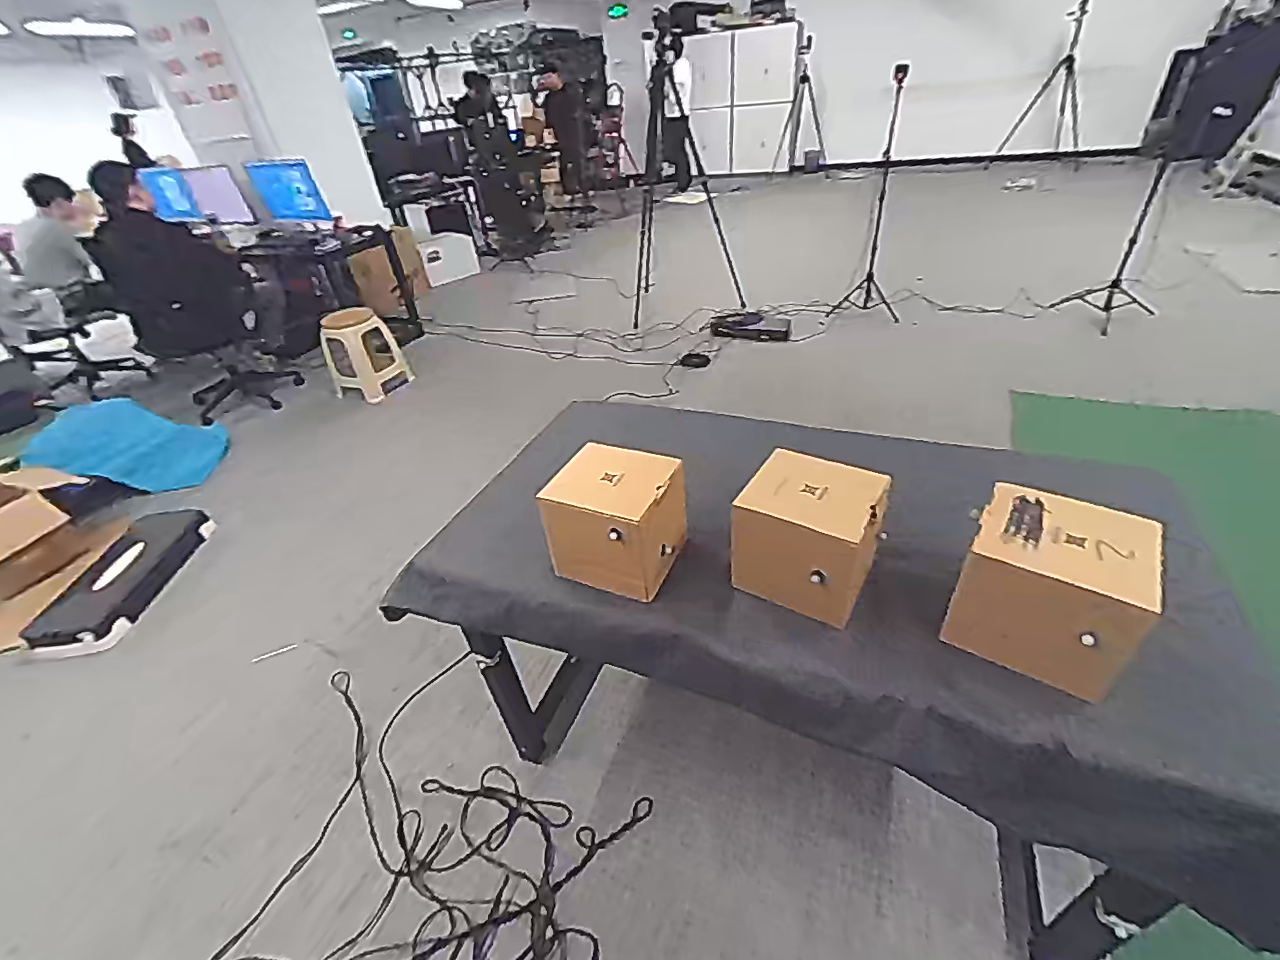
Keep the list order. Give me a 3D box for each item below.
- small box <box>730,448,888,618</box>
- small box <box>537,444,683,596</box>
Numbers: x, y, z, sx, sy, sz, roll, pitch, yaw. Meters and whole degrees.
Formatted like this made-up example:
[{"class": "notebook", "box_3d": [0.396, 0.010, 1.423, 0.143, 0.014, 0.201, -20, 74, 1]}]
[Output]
[{"class": "small box", "box_3d": [0.249, 0.078, 0.810, 0.179, 0.176, 0.168, 16, 40, 30]}, {"class": "small box", "box_3d": [-0.039, 0.063, 0.880, 0.179, 0.176, 0.168, 11, 38, 23]}]
